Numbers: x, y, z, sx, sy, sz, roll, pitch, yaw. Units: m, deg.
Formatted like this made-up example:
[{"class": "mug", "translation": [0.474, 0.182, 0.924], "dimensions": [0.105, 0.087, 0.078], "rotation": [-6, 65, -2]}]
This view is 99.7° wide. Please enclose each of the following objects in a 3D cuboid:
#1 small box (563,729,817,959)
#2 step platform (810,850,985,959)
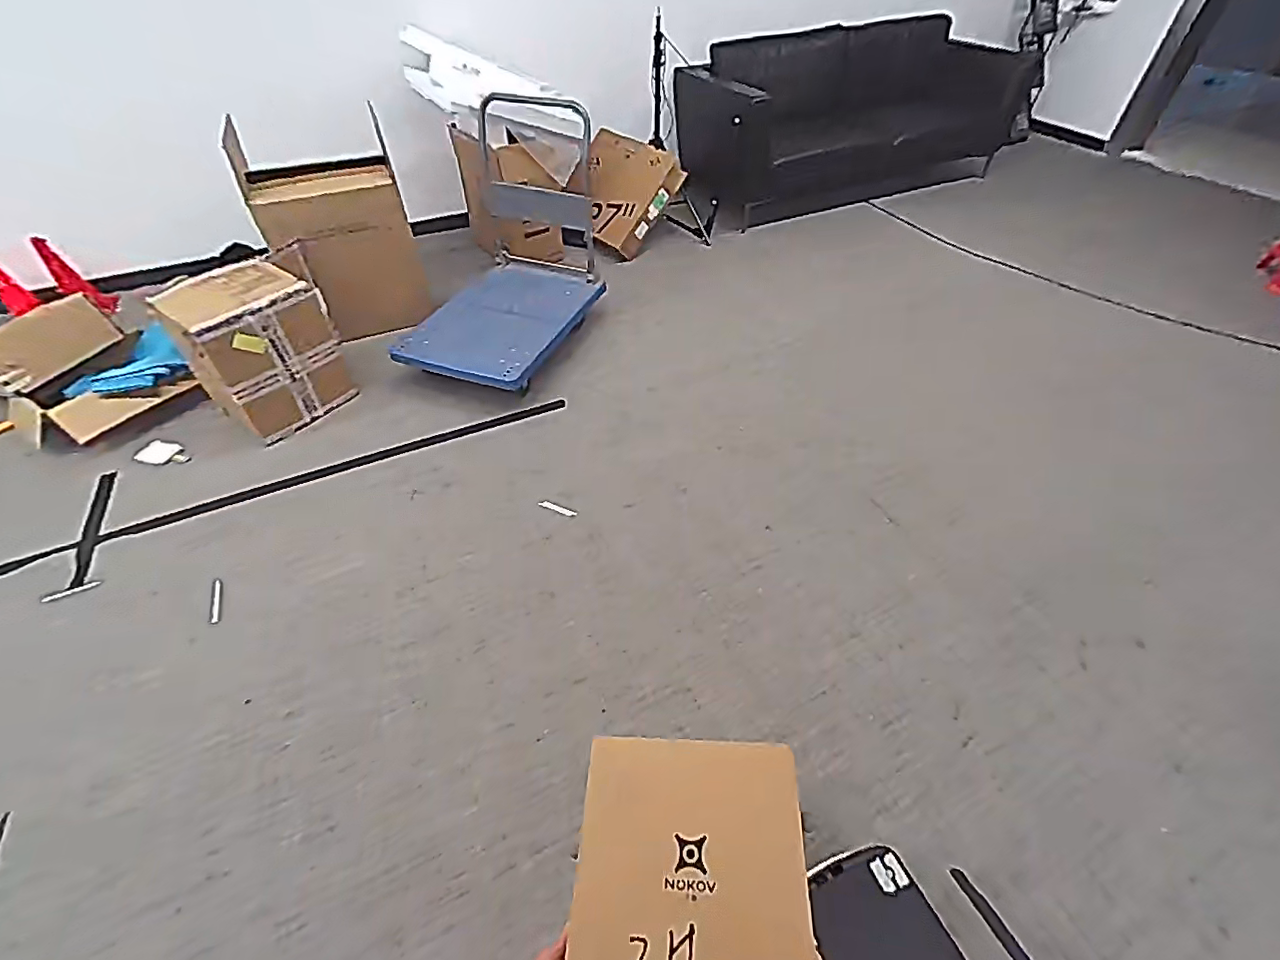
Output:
[{"class": "small box", "translation": [0.044, 0.326, 0.441], "dimensions": [0.168, 0.176, 0.179], "rotation": [-2, 47, 8]}, {"class": "step platform", "translation": [0.505, 0.979, 0.822], "dimensions": [0.286, 0.204, 0.684], "rotation": [-19, 48, -17]}]
